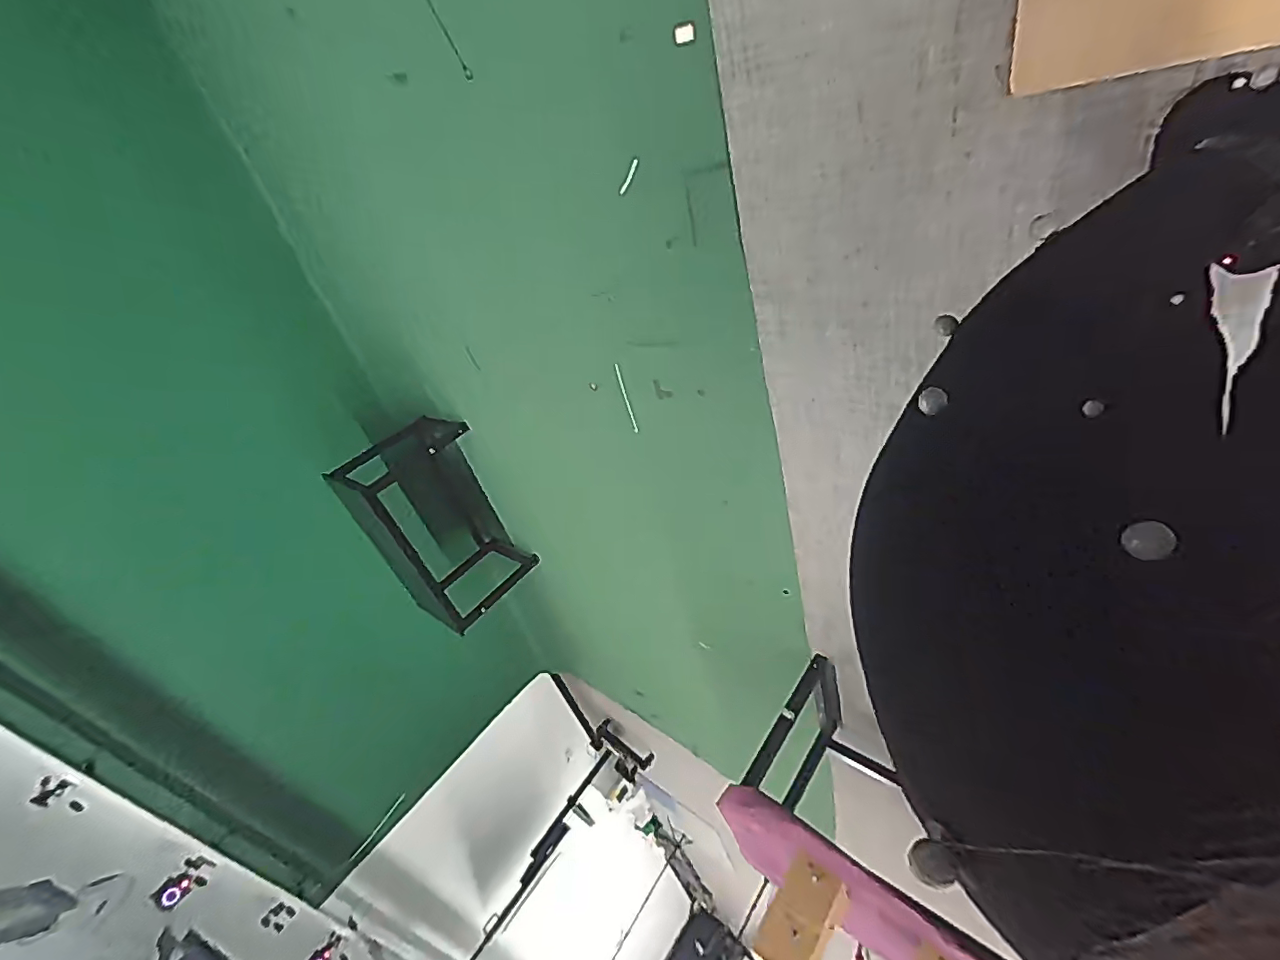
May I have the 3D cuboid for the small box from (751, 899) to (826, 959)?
[{"bbox_3d":[0.474,1.485,1.706,0.168,0.176,0.179,14,135,40],"label":"small box"}]

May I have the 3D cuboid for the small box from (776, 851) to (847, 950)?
[{"bbox_3d":[0.573,1.386,1.789,0.168,0.176,0.179,14,135,40],"label":"small box"}]

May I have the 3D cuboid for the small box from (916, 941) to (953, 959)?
[{"bbox_3d":[0.873,1.486,1.552,0.168,0.176,0.179,13,136,41],"label":"small box"}]
